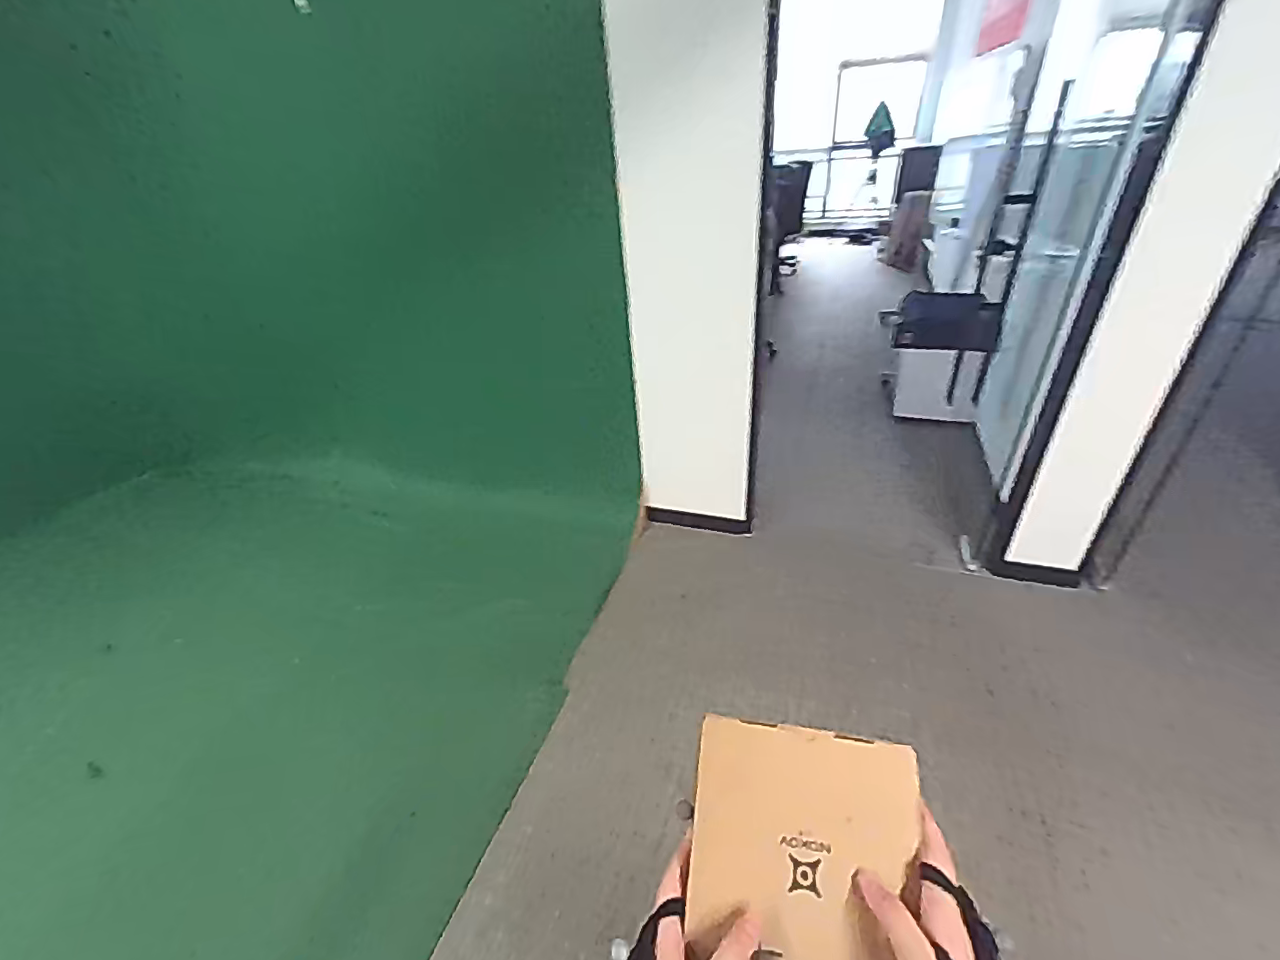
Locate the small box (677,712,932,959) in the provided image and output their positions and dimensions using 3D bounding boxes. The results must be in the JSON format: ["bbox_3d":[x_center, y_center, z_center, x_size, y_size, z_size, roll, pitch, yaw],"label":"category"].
[{"bbox_3d":[0.121,0.310,0.452,0.168,0.176,0.179,5,61,8],"label":"small box"}]
